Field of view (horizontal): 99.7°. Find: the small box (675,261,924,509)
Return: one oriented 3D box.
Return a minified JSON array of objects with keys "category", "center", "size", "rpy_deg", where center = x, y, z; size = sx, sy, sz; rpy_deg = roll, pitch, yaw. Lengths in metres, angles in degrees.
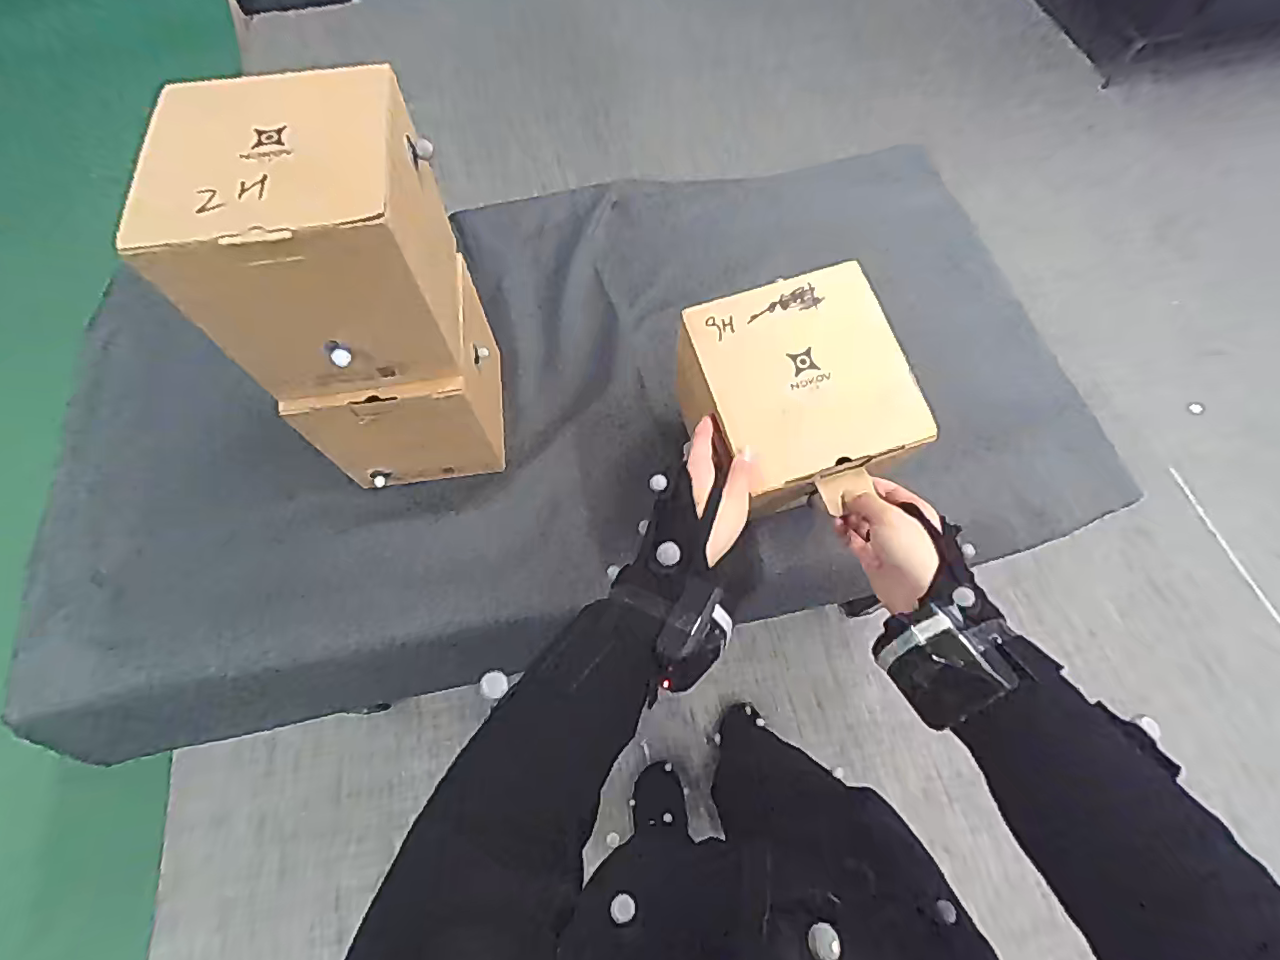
[{"category":"small box","center":[0.138,-0.077,0.539],"size":[0.168,0.176,0.179],"rpy_deg":[-16,77,-3]}]

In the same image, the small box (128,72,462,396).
[{"category":"small box","center":[-0.257,-0.196,0.453],"size":[0.168,0.176,0.179],"rpy_deg":[-9,66,-4]}]

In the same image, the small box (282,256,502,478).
[{"category":"small box","center":[-0.252,-0.112,0.596],"size":[0.168,0.176,0.179],"rpy_deg":[-7,64,-4]}]
